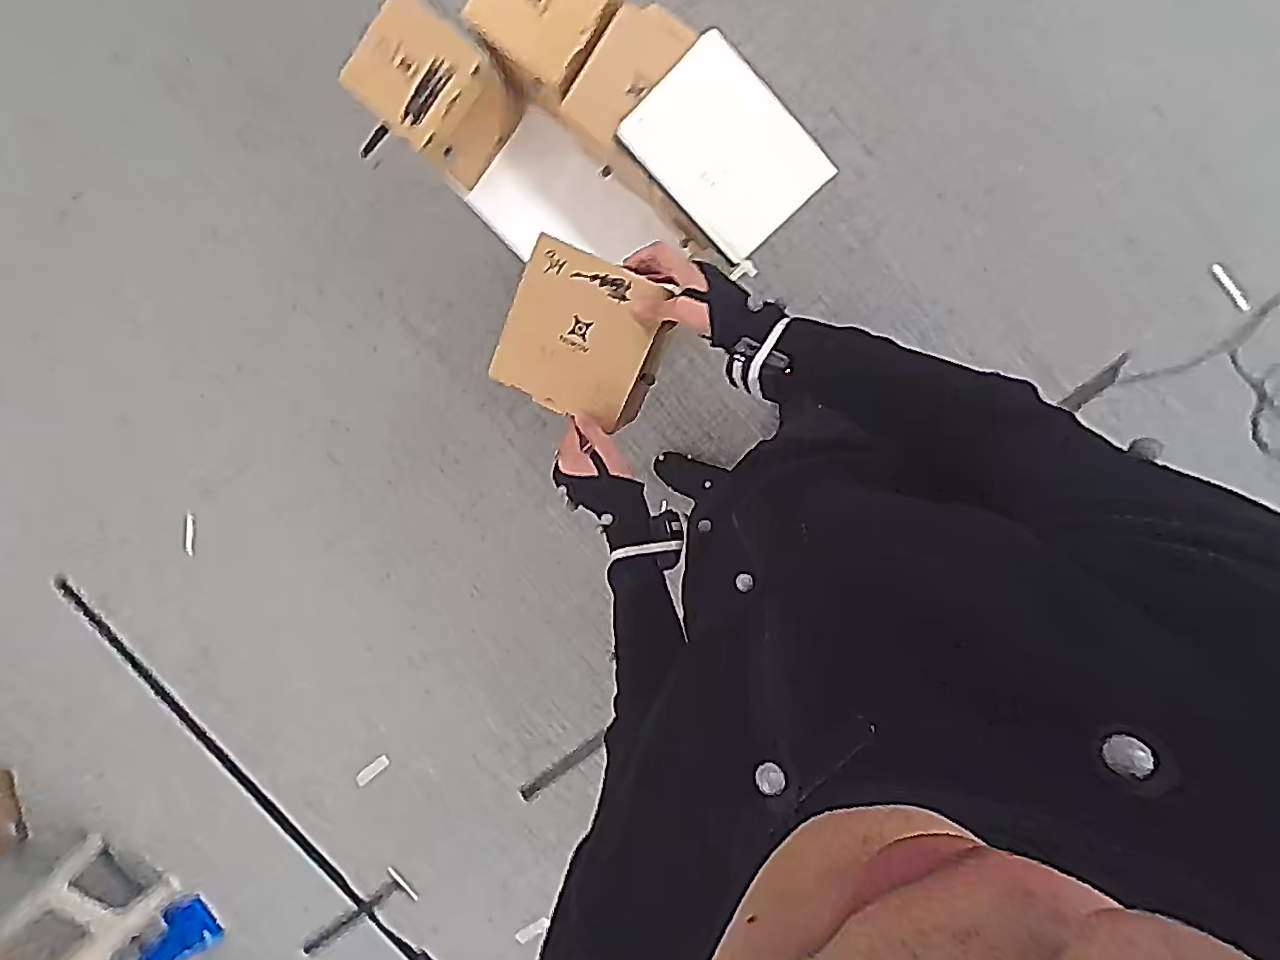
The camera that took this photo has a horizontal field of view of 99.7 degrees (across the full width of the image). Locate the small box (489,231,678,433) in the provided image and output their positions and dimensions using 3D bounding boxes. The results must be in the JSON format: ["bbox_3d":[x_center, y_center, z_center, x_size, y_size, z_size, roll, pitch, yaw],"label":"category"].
[{"bbox_3d":[-0.059,-0.181,0.685,0.168,0.176,0.179,25,105,2],"label":"small box"}]
